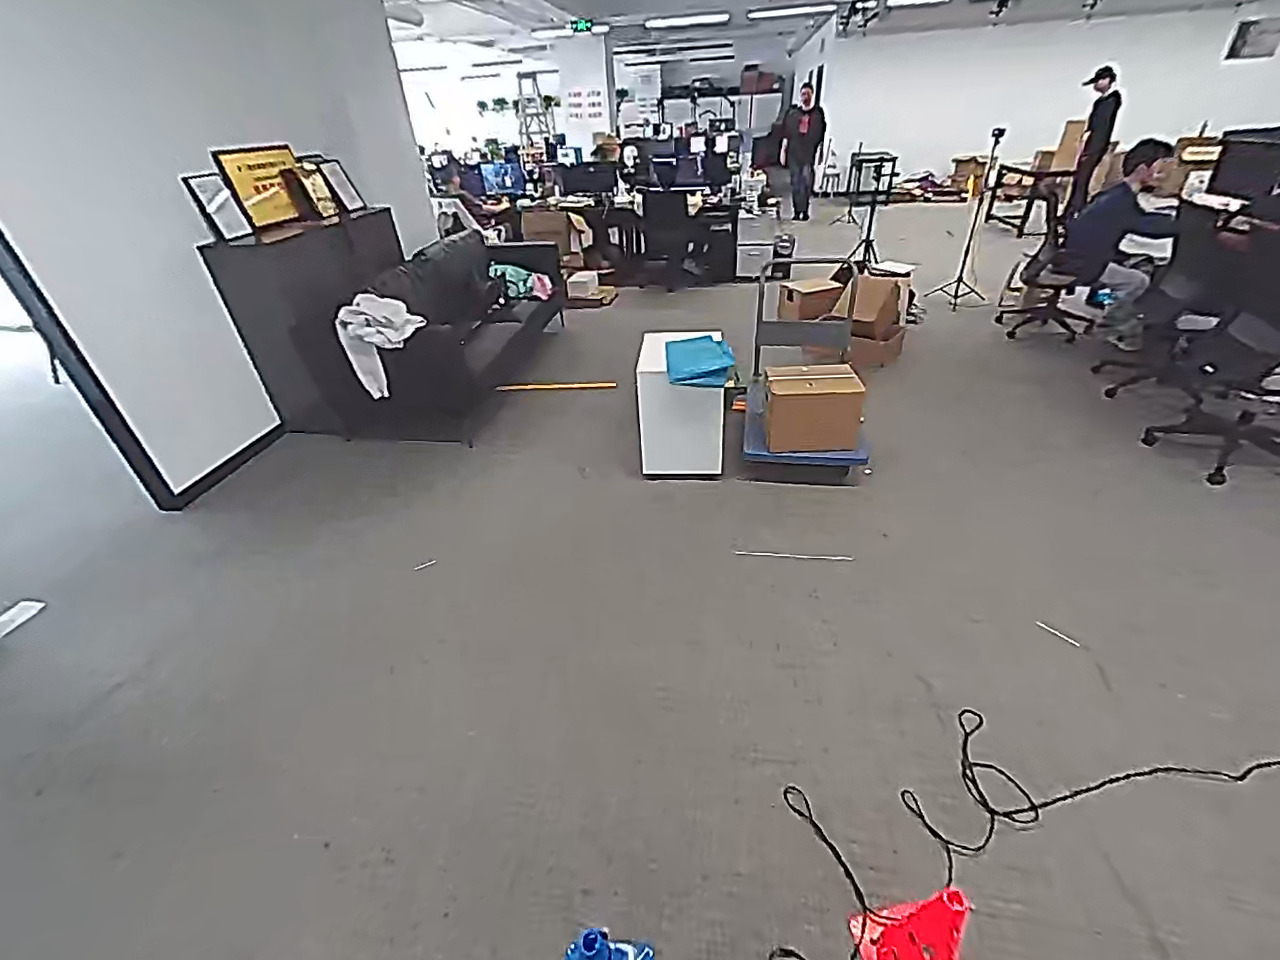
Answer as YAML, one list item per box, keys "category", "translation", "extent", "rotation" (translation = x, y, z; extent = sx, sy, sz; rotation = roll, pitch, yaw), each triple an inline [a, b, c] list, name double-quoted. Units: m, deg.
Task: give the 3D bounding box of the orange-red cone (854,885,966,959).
- category: "orange-red cone"
  translation: [0.578, 0.891, 1.067]
  extent: [0.198, 0.360, 0.199]
  rotation: [-9, 36, -5]
